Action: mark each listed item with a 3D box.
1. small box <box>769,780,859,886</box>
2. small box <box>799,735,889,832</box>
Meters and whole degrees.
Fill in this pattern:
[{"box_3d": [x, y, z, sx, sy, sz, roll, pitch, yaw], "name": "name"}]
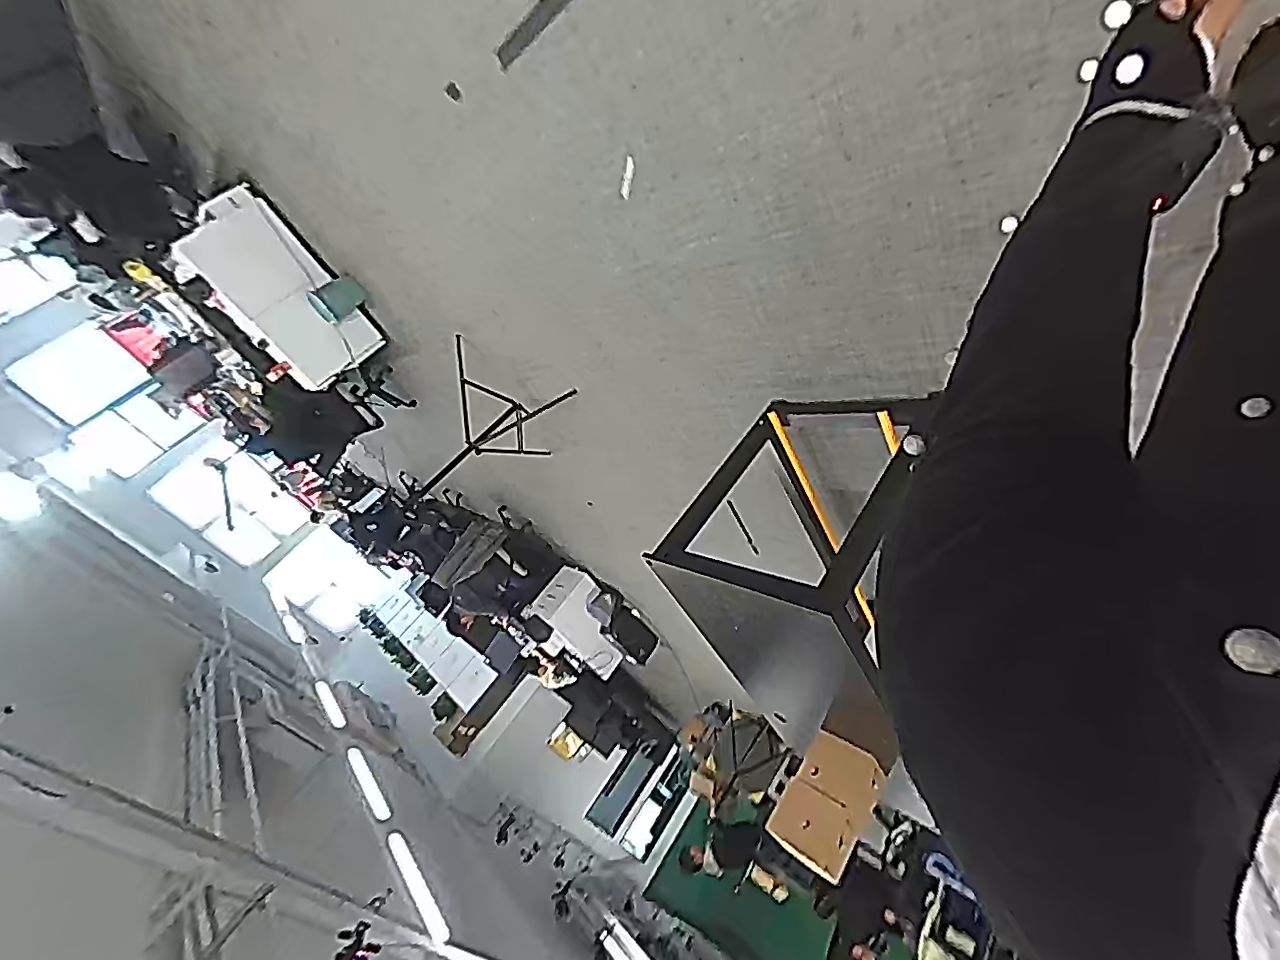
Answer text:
[{"box_3d": [0.514, 1.018, 1.573, 0.179, 0.176, 0.168, 6, 139, 51], "name": "small box"}, {"box_3d": [0.617, 0.905, 1.631, 0.179, 0.176, 0.168, 10, 142, 49], "name": "small box"}]
